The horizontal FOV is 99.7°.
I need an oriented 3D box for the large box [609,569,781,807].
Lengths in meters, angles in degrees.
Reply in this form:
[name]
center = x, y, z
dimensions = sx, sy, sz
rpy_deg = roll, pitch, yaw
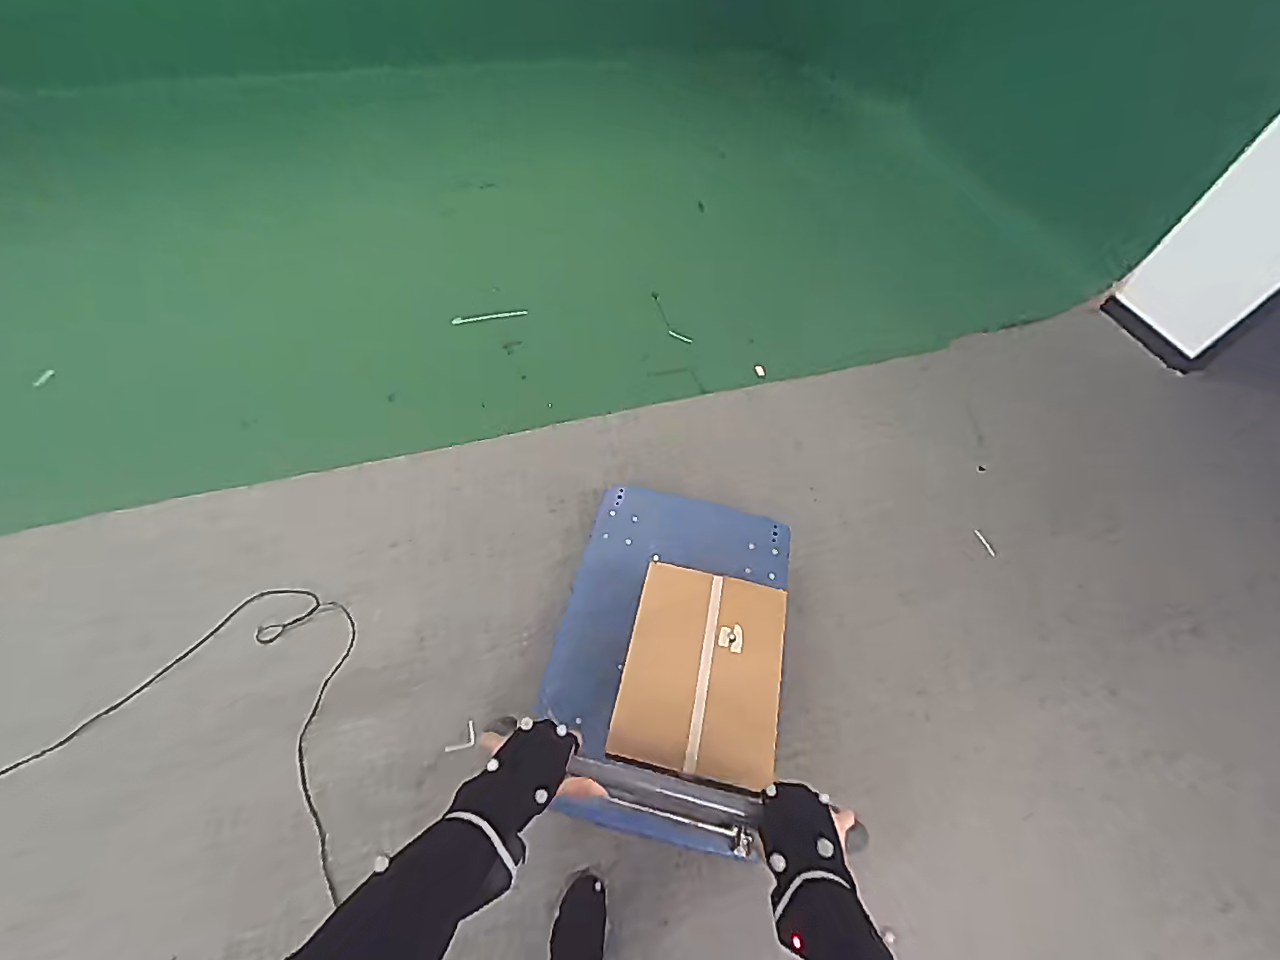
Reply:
[large box]
center = 0.120, 0.478, 1.235
dimensions = 0.320, 0.320, 0.408
rpy_deg = 13, 55, 4
